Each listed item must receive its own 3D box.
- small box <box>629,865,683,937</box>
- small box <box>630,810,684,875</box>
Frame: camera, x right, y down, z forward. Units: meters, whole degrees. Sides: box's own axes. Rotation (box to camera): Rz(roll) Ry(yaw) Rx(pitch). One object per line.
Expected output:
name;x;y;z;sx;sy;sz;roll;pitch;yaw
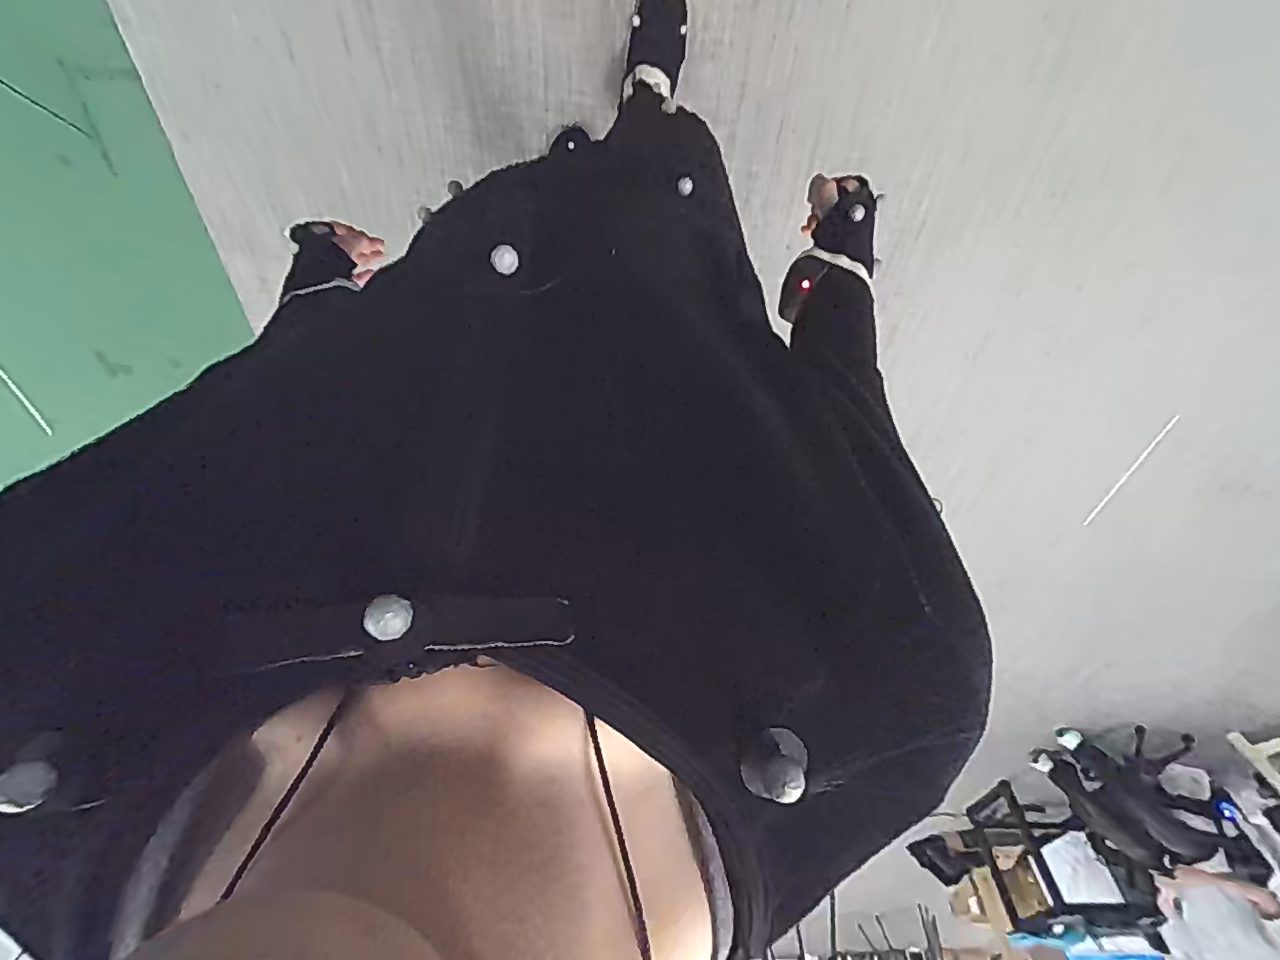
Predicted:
small box;0.050;1.403;1.802;0.168;0.176;0.179;4;133;-1
small box;0.057;1.295;1.924;0.179;0.176;0.168;4;132;-3
